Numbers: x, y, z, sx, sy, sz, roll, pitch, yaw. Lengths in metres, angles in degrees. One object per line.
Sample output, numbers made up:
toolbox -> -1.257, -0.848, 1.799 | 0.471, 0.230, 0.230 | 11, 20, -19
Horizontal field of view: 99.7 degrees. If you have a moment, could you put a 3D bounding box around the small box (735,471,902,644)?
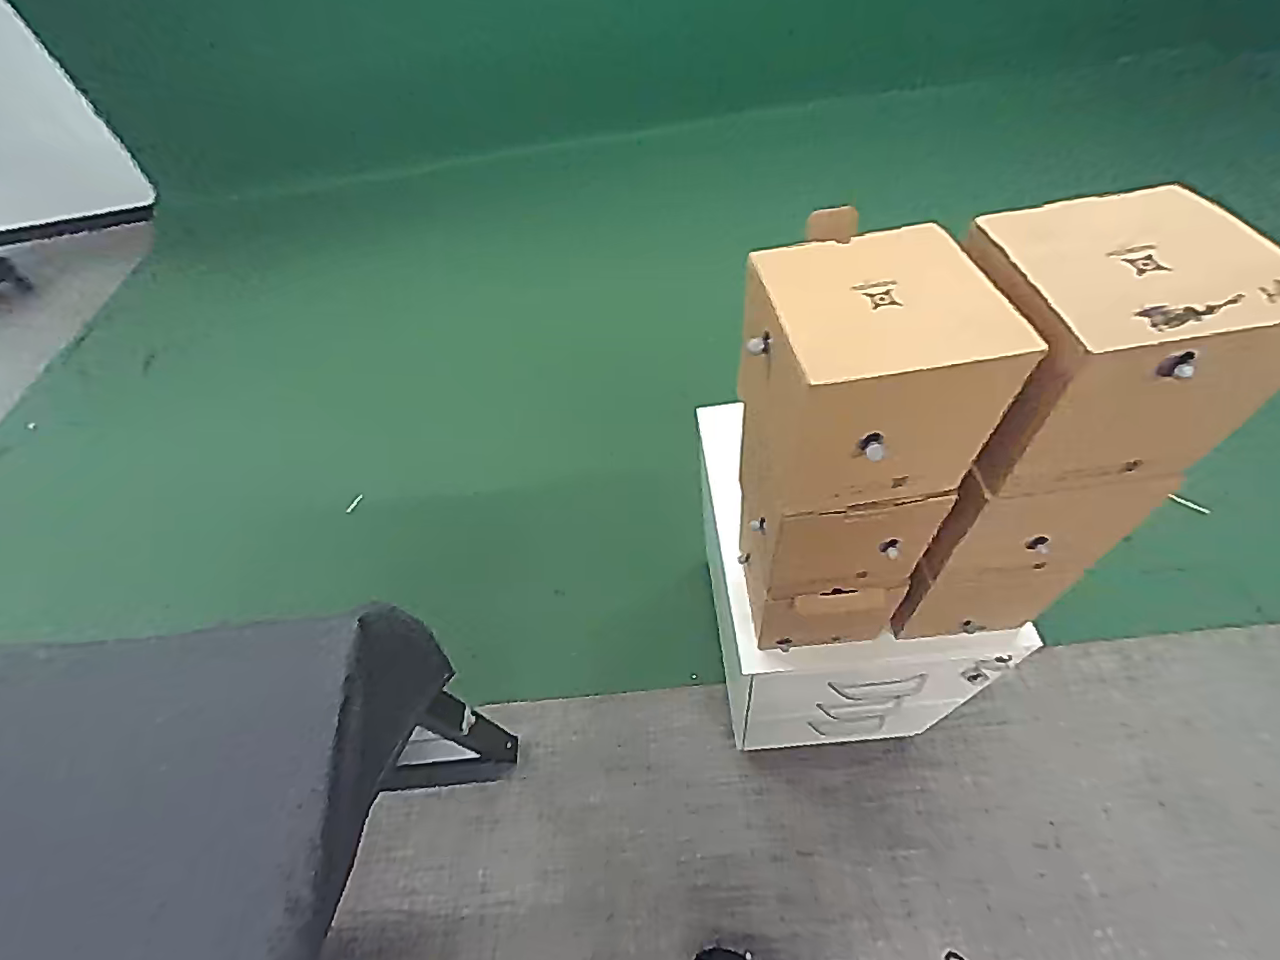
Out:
small box -> 0.225, 0.112, 0.733 | 0.168, 0.176, 0.179 | -6, 52, 3

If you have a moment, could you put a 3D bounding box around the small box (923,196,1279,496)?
small box -> 0.374, -0.110, 0.463 | 0.168, 0.176, 0.179 | -8, 52, 3
